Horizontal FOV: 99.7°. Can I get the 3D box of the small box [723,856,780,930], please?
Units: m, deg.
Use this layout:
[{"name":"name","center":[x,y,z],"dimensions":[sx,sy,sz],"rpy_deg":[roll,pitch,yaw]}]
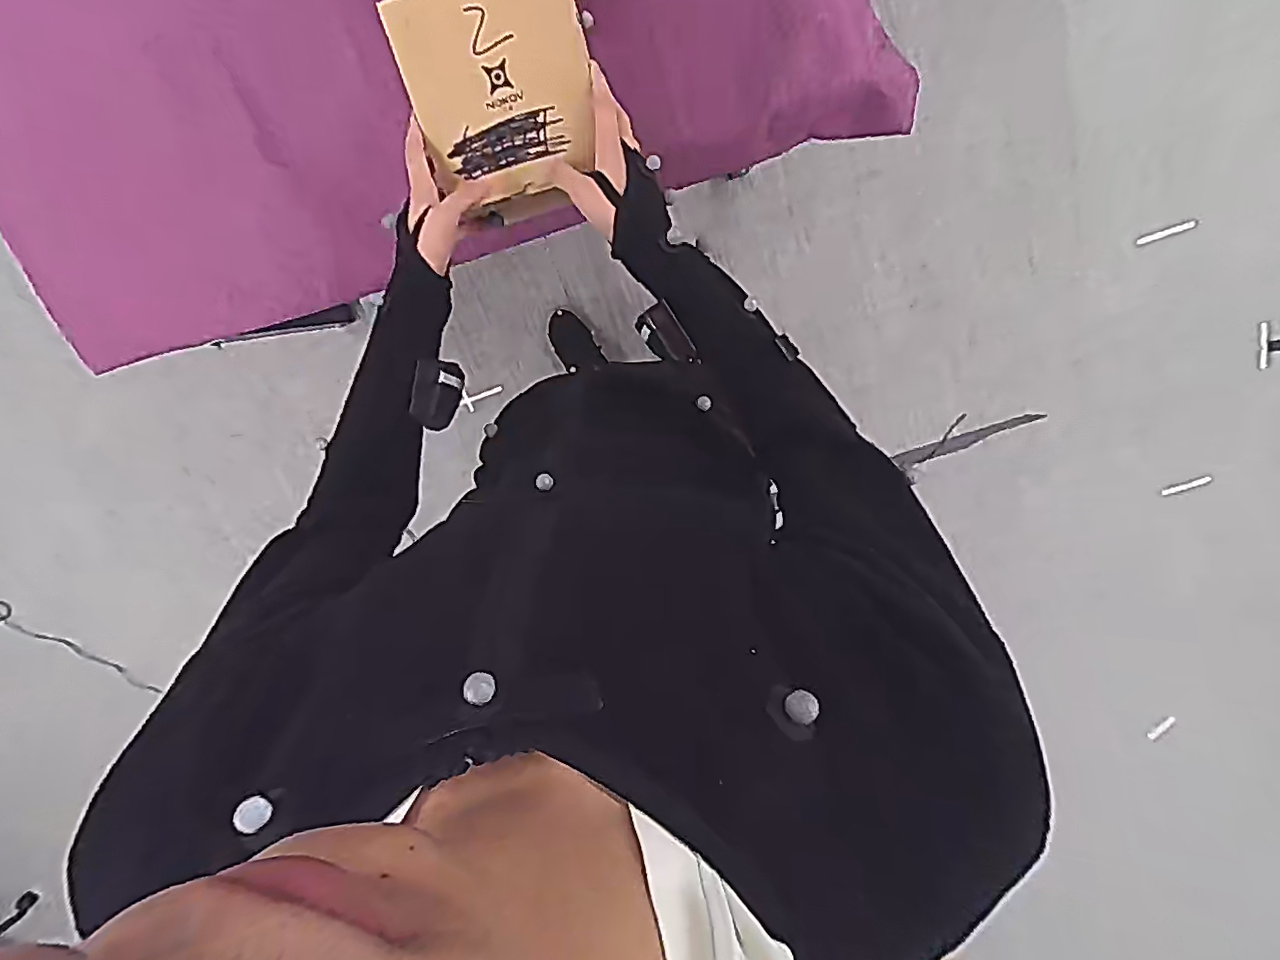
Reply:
[{"name":"small box","center":[0.449,1.672,2.195],"dimensions":[0.179,0.176,0.168],"rpy_deg":[-17,109,6]}]
